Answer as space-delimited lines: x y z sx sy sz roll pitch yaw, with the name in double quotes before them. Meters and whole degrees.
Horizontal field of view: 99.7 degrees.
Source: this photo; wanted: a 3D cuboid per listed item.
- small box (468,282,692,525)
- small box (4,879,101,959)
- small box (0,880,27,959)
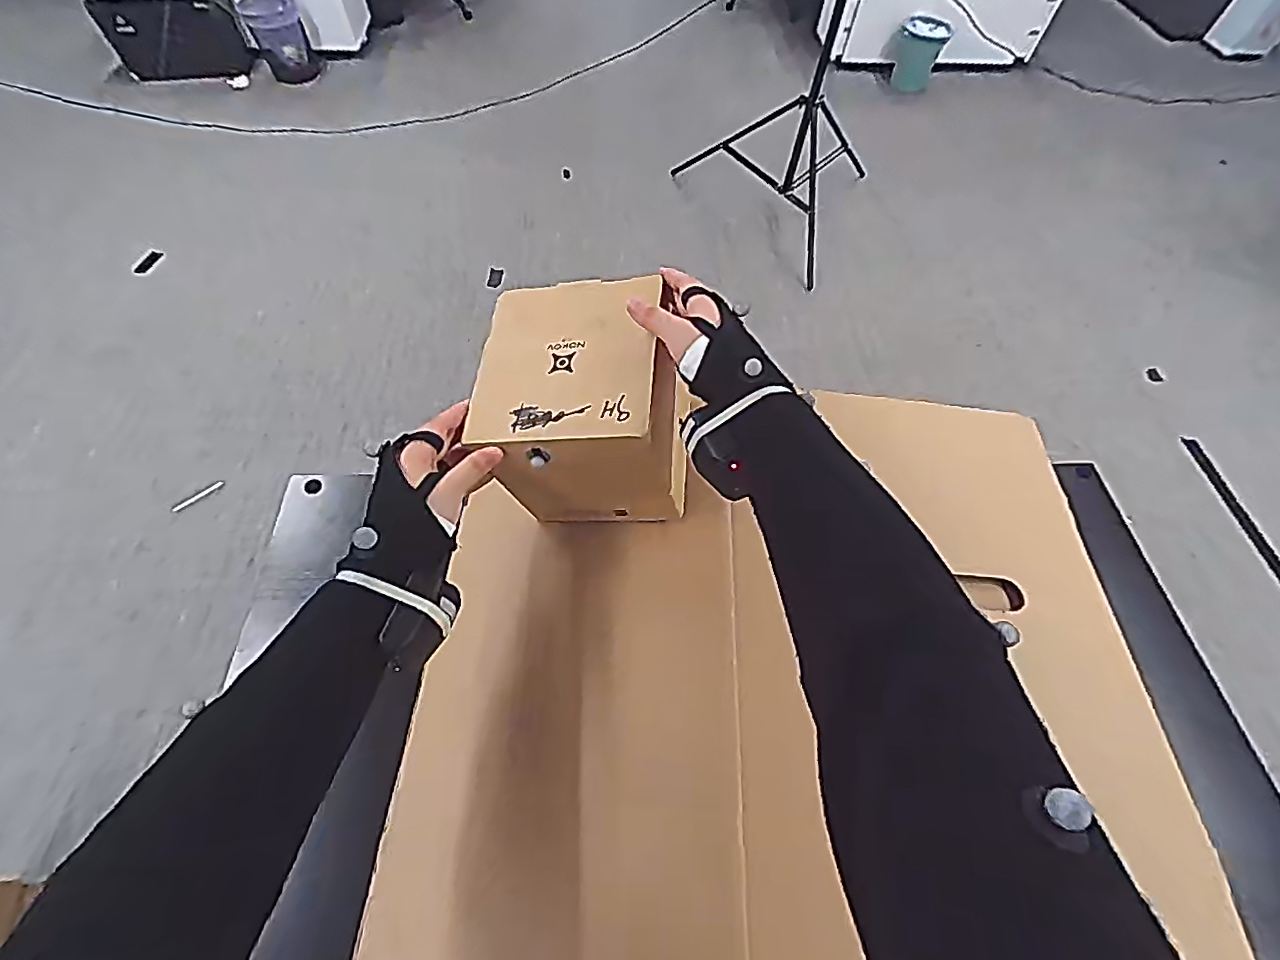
"small box" -0.042 -0.068 0.549 0.168 0.176 0.179 -2 62 15
"small box" -1.159 0.849 0.988 0.168 0.176 0.179 -5 60 -5
"small box" -1.154 0.760 0.852 0.168 0.176 0.179 -7 58 -8
